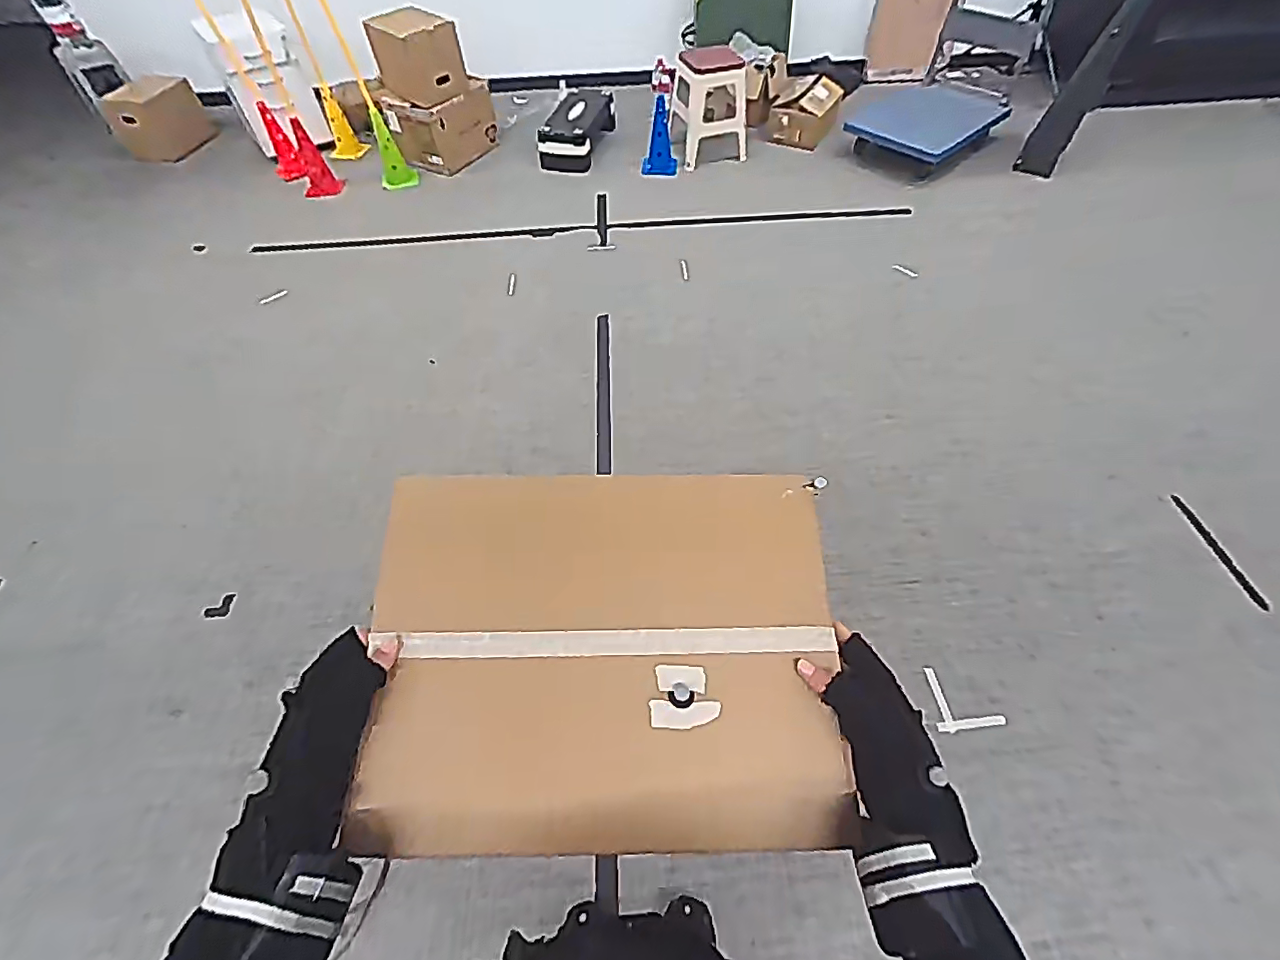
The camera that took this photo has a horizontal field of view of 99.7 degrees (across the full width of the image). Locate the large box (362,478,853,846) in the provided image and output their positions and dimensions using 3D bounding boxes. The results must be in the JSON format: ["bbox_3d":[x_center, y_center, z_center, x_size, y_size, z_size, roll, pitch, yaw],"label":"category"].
[{"bbox_3d":[-0.031,0.200,0.625,0.408,0.320,0.320,0,68,-1],"label":"large box"}]
